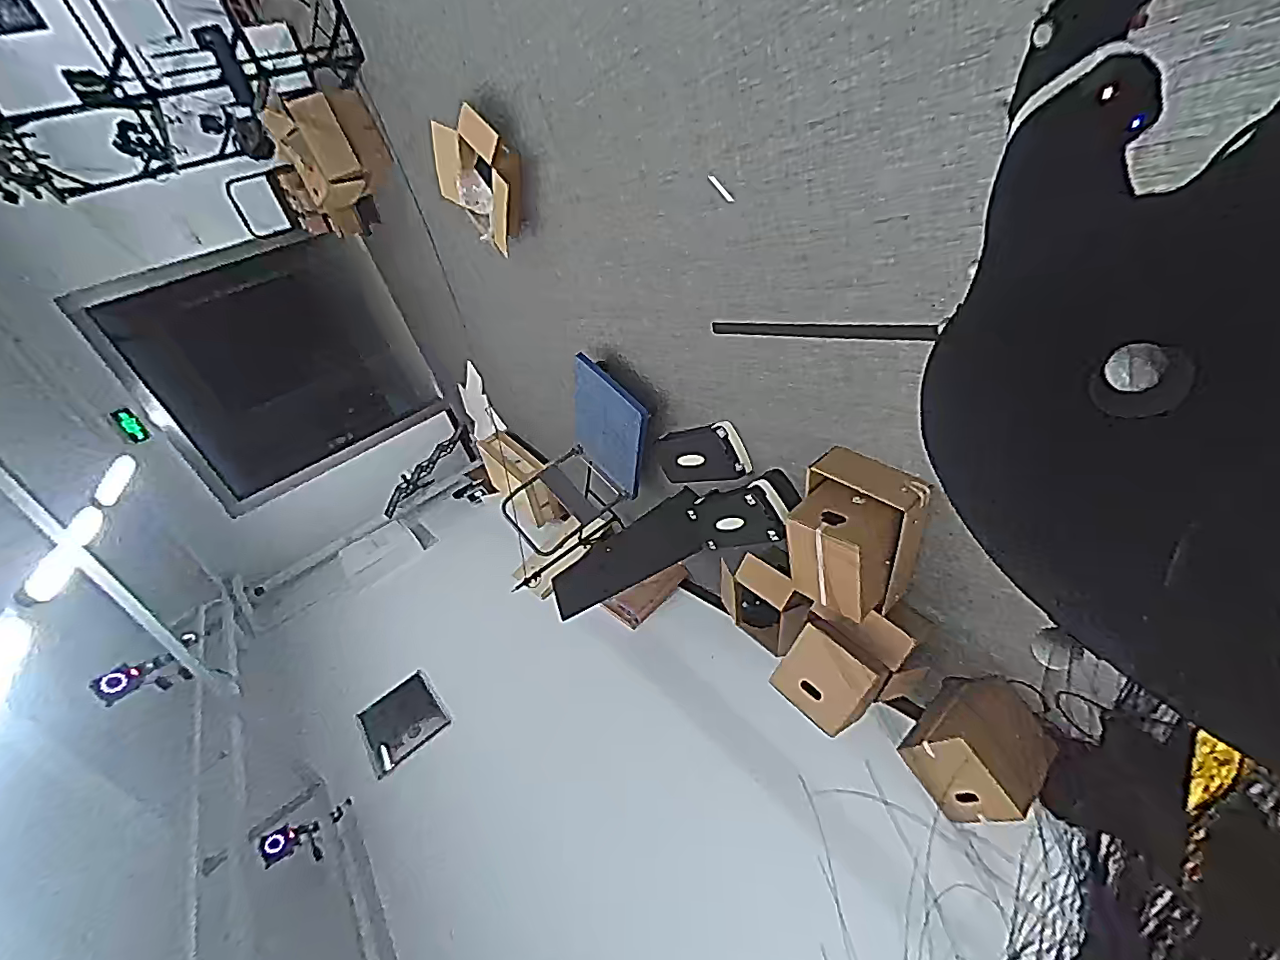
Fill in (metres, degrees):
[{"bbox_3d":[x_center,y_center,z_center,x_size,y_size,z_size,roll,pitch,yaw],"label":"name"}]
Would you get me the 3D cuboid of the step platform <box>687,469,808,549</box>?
[{"bbox_3d":[0.512,0.169,2.728,0.286,0.204,0.684,57,154,-3],"label":"step platform"}]
